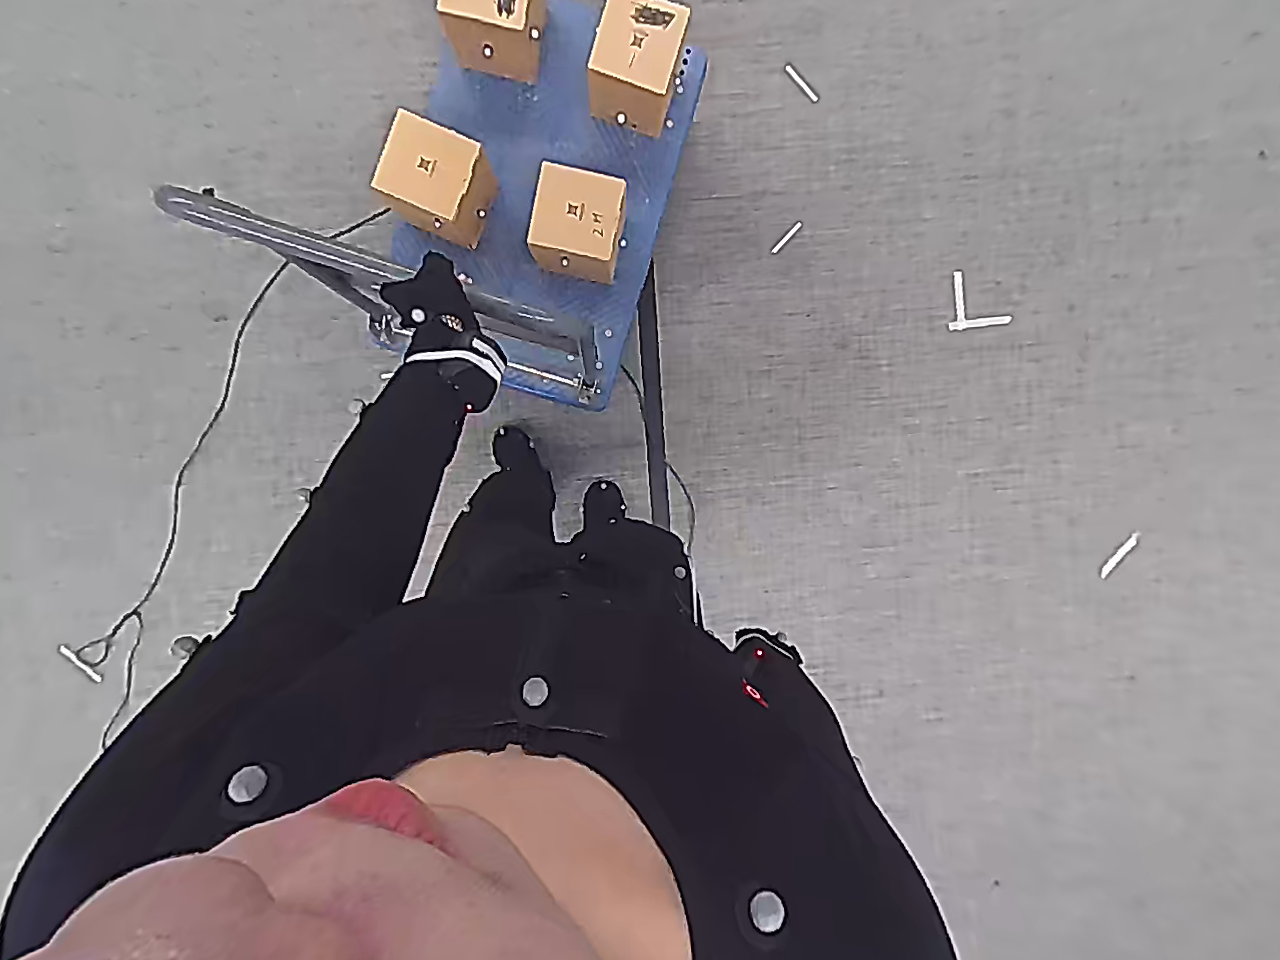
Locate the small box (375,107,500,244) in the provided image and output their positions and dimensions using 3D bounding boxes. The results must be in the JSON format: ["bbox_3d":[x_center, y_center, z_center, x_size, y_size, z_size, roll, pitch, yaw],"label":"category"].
[{"bbox_3d":[-0.421,-0.634,1.151,0.179,0.176,0.168,21,93,-5],"label":"small box"}]

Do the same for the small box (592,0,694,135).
[{"bbox_3d":[0.002,-0.886,1.148,0.168,0.176,0.179,18,95,-4],"label":"small box"}]

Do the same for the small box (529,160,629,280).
[{"bbox_3d":[-0.125,-0.551,1.169,0.179,0.176,0.168,12,94,-3],"label":"small box"}]
